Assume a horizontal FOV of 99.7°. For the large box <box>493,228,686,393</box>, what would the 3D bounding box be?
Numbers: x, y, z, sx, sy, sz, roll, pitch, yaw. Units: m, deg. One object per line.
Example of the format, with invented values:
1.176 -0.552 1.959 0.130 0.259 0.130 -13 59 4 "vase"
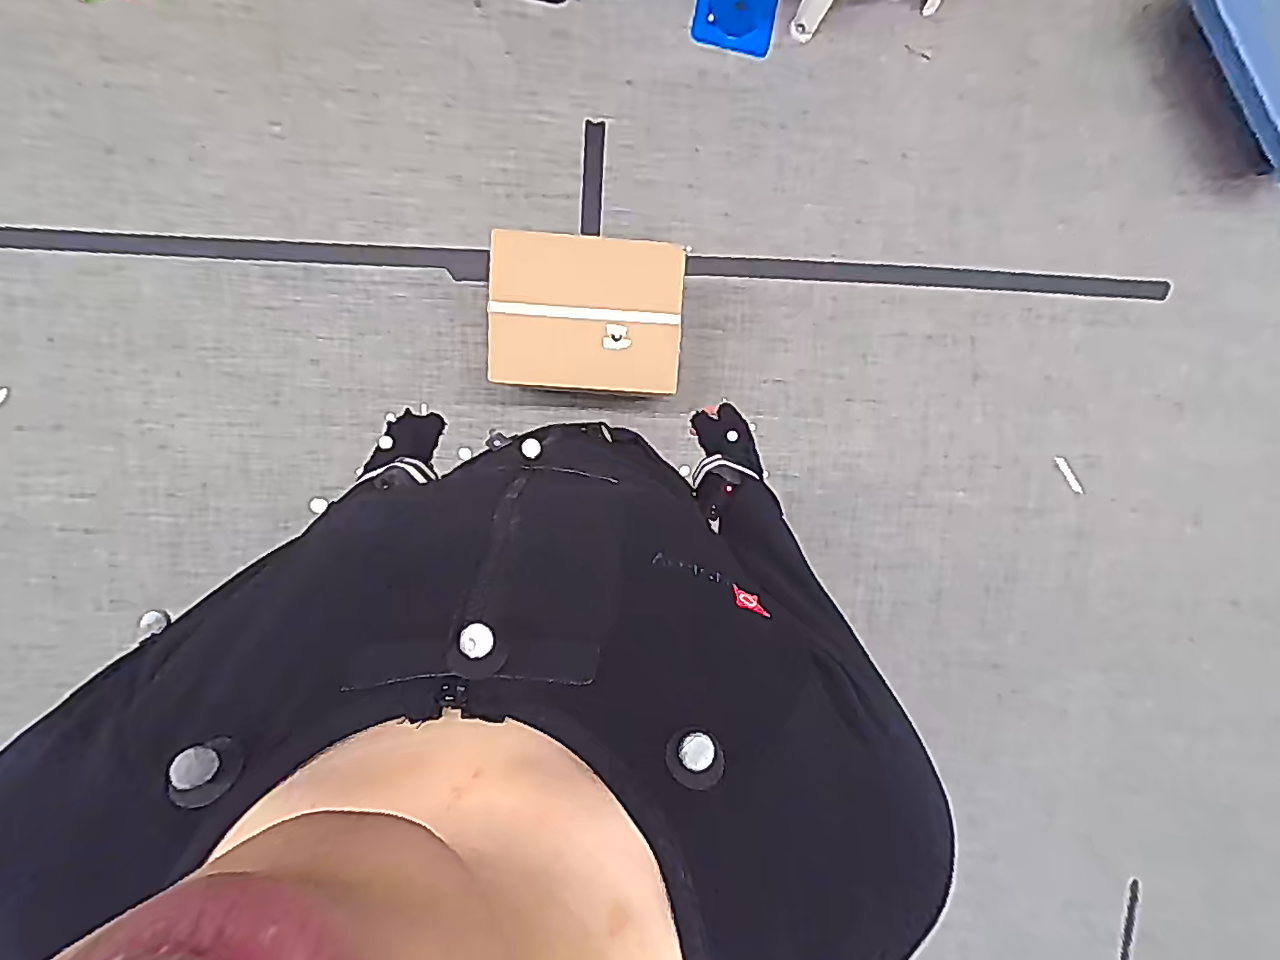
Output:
-0.121 -0.375 1.283 0.408 0.320 0.320 3 98 -5 "large box"
